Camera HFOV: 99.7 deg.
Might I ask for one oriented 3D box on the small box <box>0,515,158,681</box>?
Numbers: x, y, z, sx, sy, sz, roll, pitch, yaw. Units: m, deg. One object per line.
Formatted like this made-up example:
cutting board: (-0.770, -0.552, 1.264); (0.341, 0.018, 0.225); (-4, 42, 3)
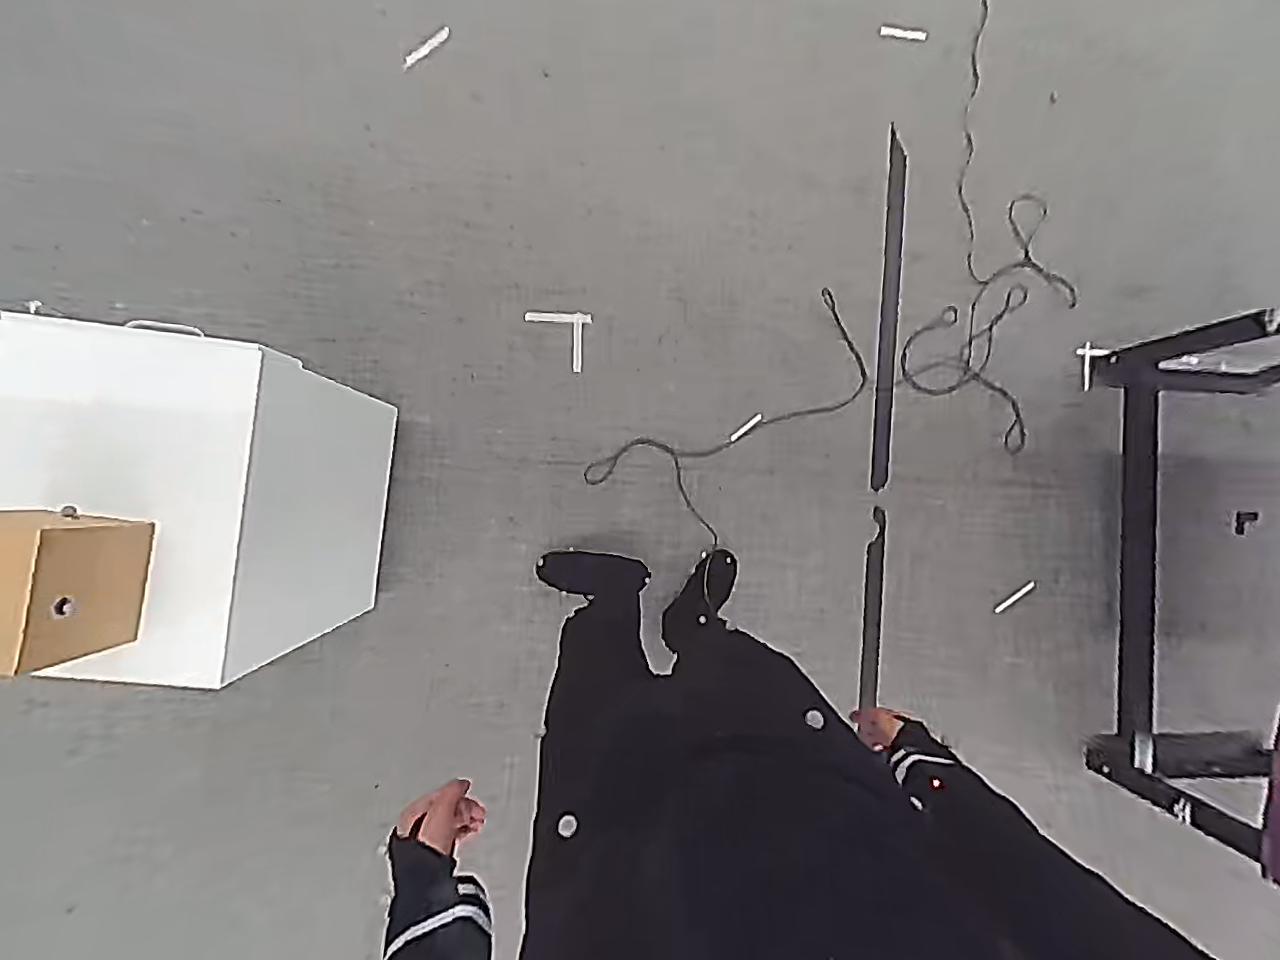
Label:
small box: (-0.792, 0.143, 0.711); (0.168, 0.176, 0.179); (7, 87, -4)
